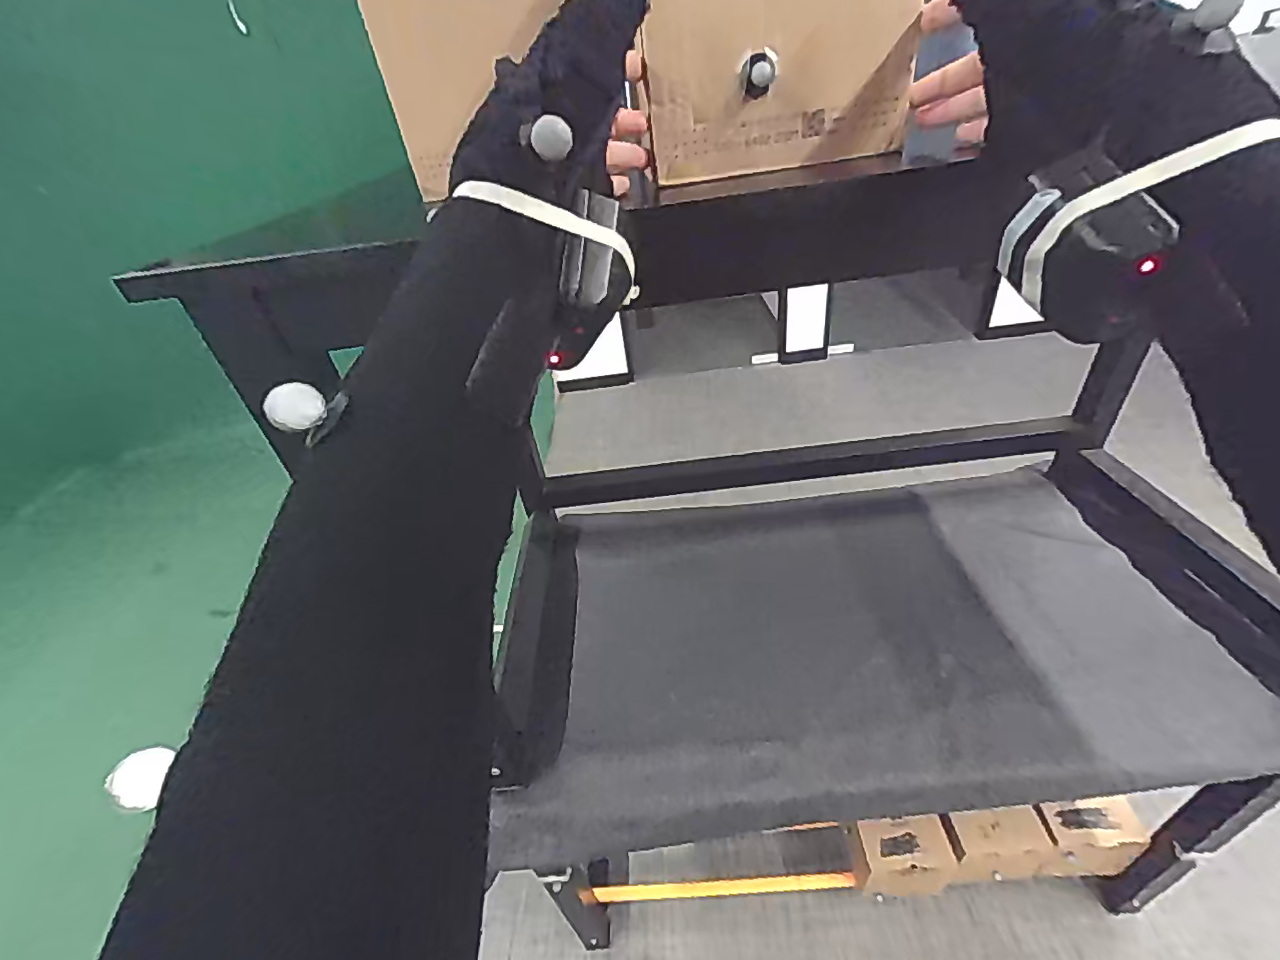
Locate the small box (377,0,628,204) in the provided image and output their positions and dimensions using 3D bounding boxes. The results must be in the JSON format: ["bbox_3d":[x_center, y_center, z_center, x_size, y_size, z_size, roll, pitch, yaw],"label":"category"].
[{"bbox_3d":[-0.106,-0.351,0.469,0.168,0.176,0.179,-9,37,1],"label":"small box"}]

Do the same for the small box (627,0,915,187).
[{"bbox_3d":[0.077,-0.319,0.387,0.168,0.176,0.179,-8,36,1],"label":"small box"}]
